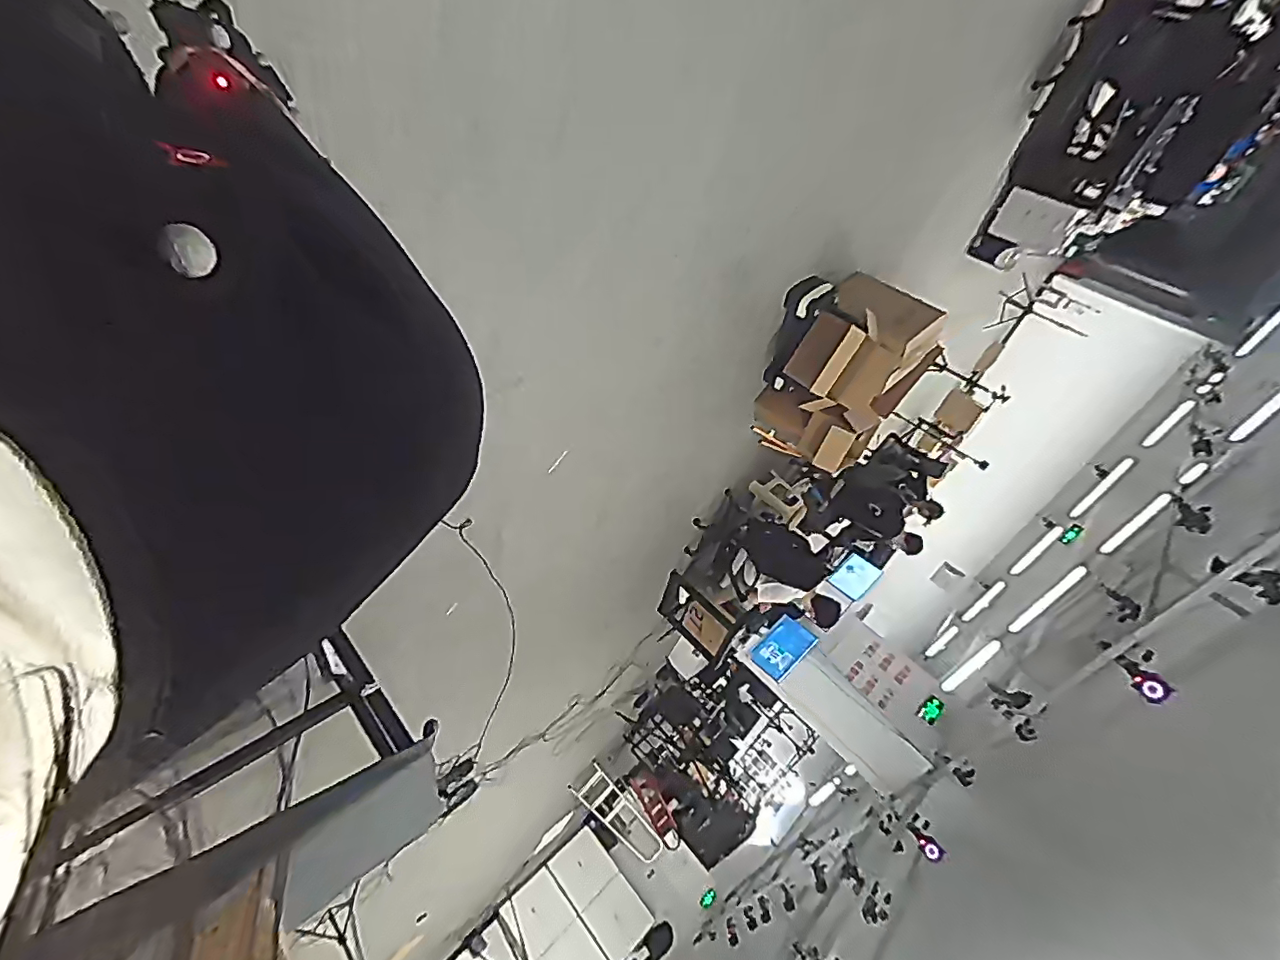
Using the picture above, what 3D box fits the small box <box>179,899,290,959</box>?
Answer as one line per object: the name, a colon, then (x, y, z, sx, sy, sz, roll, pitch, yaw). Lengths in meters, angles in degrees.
small box: (-1.014, 1.207, 1.359, 0.168, 0.176, 0.179, -27, 145, -39)
